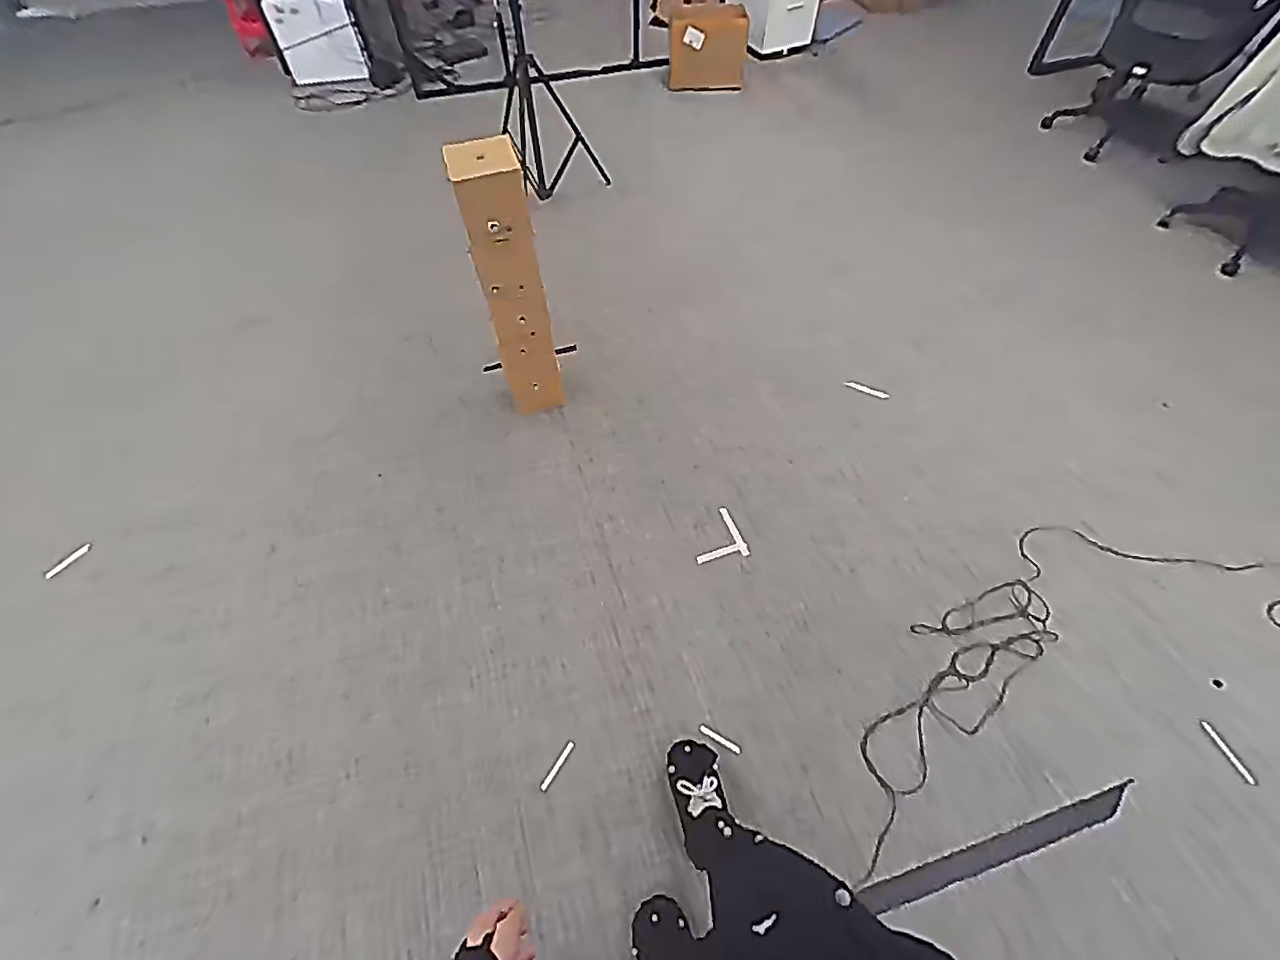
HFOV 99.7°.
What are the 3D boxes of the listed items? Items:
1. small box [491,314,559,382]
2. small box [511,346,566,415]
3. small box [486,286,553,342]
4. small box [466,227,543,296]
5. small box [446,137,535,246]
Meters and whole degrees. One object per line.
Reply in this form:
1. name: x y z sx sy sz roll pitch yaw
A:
1. small box: -0.370 -0.440 1.754 0.179 0.176 0.168 -13 58 -8
2. small box: -0.363 -0.354 1.894 0.179 0.176 0.168 -15 58 -9
3. small box: -0.365 -0.535 1.621 0.168 0.176 0.179 -14 58 -8
4. small box: -0.370 -0.627 1.485 0.168 0.176 0.179 -15 57 -8
5. small box: -0.370 -0.718 1.351 0.168 0.176 0.179 -17 59 -9
